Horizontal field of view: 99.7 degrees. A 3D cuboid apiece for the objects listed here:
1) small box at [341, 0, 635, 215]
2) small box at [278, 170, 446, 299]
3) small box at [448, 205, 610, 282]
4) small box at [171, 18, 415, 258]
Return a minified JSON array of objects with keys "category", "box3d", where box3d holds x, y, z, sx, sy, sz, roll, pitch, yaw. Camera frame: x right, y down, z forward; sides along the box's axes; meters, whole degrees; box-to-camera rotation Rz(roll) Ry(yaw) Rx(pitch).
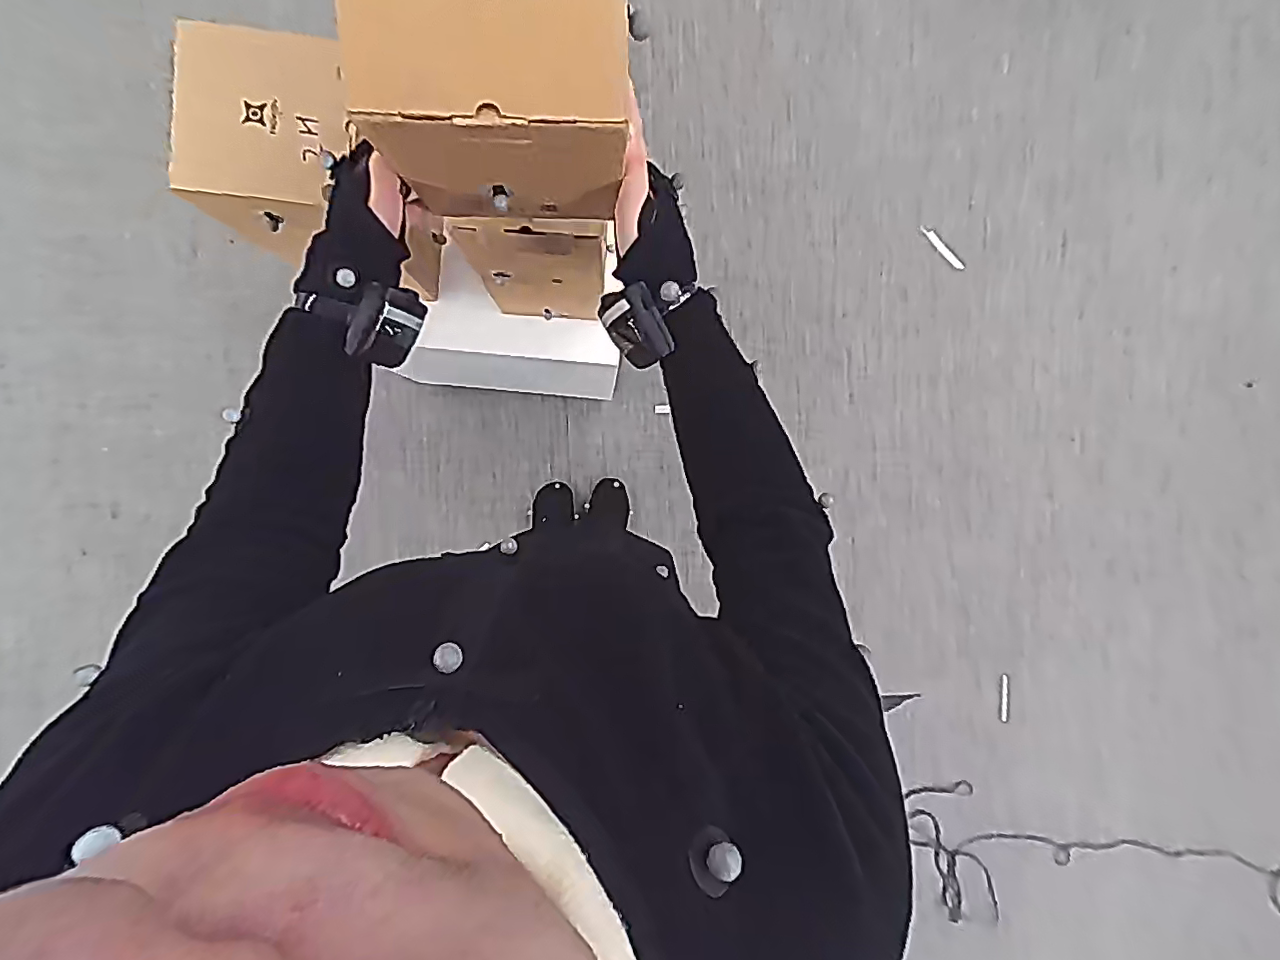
[{"category":"small box","box3d":[-0.091,-0.308,0.381,0.168,0.176,0.179,-1,100,-4]},{"category":"small box","box3d":[-0.390,-0.382,0.784,0.168,0.176,0.179,5,91,-4]},{"category":"small box","box3d":[-0.118,-0.349,0.640,0.168,0.176,0.179,3,92,-4]},{"category":"small box","box3d":[-0.379,-0.370,0.620,0.179,0.176,0.168,5,93,-4]}]
